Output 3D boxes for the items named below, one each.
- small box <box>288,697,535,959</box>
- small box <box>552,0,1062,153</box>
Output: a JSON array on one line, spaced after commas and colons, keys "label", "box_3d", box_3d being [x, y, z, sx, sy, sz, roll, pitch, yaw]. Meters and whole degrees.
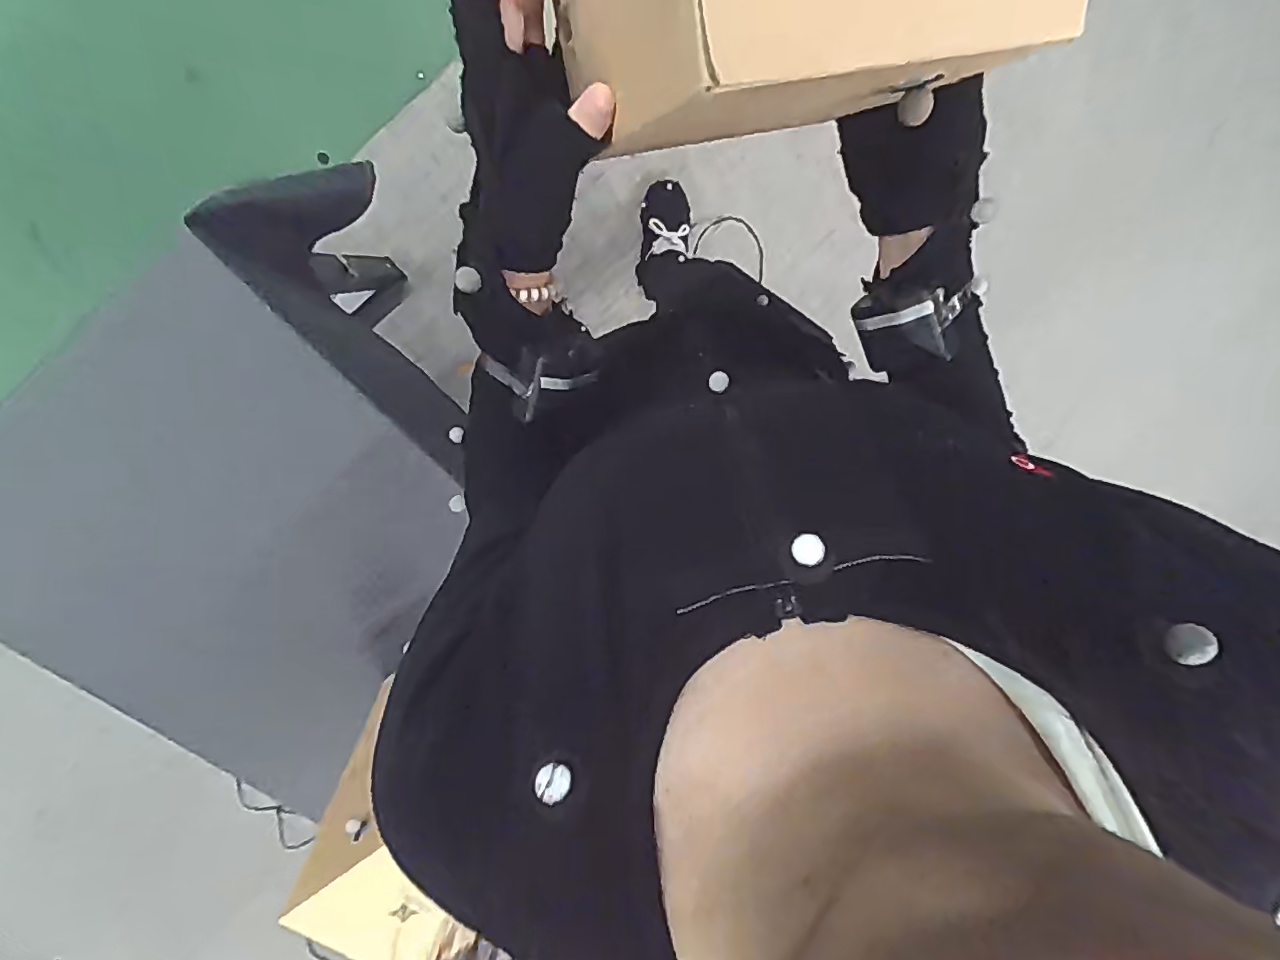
[{"label": "small box", "box_3d": [-0.236, 0.392, 0.614, 0.179, 0.176, 0.168, -38, 110, 8]}, {"label": "small box", "box_3d": [0.058, -0.264, 0.245, 0.179, 0.176, 0.168, -17, 116, -13]}]
